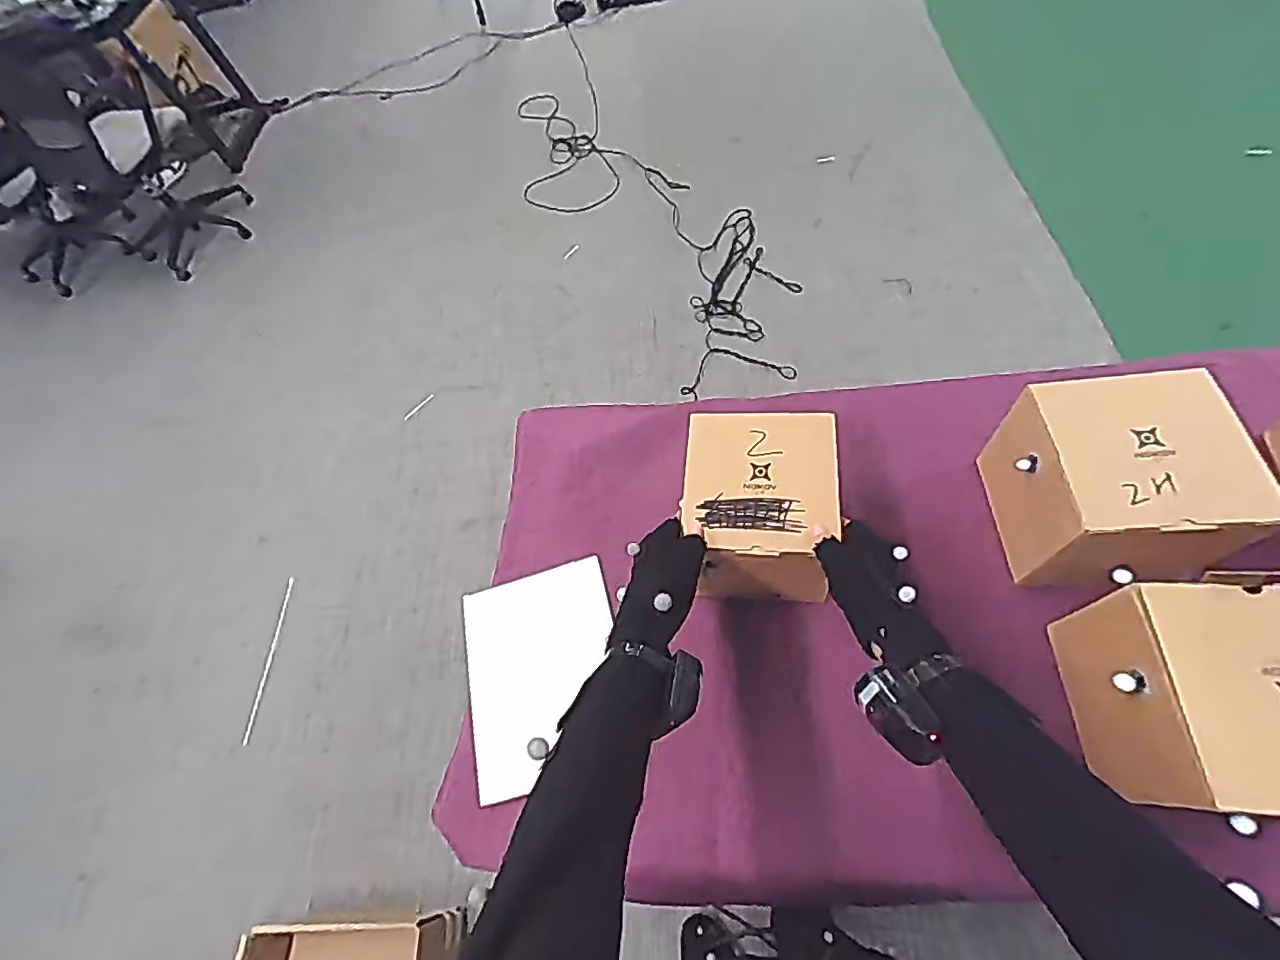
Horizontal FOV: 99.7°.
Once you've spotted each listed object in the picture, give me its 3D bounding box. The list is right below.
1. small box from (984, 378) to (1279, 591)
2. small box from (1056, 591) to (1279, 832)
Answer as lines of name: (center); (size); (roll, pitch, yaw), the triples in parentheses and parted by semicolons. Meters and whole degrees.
small box: (0.509, 0.012, 0.592); (0.168, 0.176, 0.179); (-3, 61, 11)
small box: (0.521, 0.209, 0.486); (0.168, 0.176, 0.179); (-1, 62, 12)
